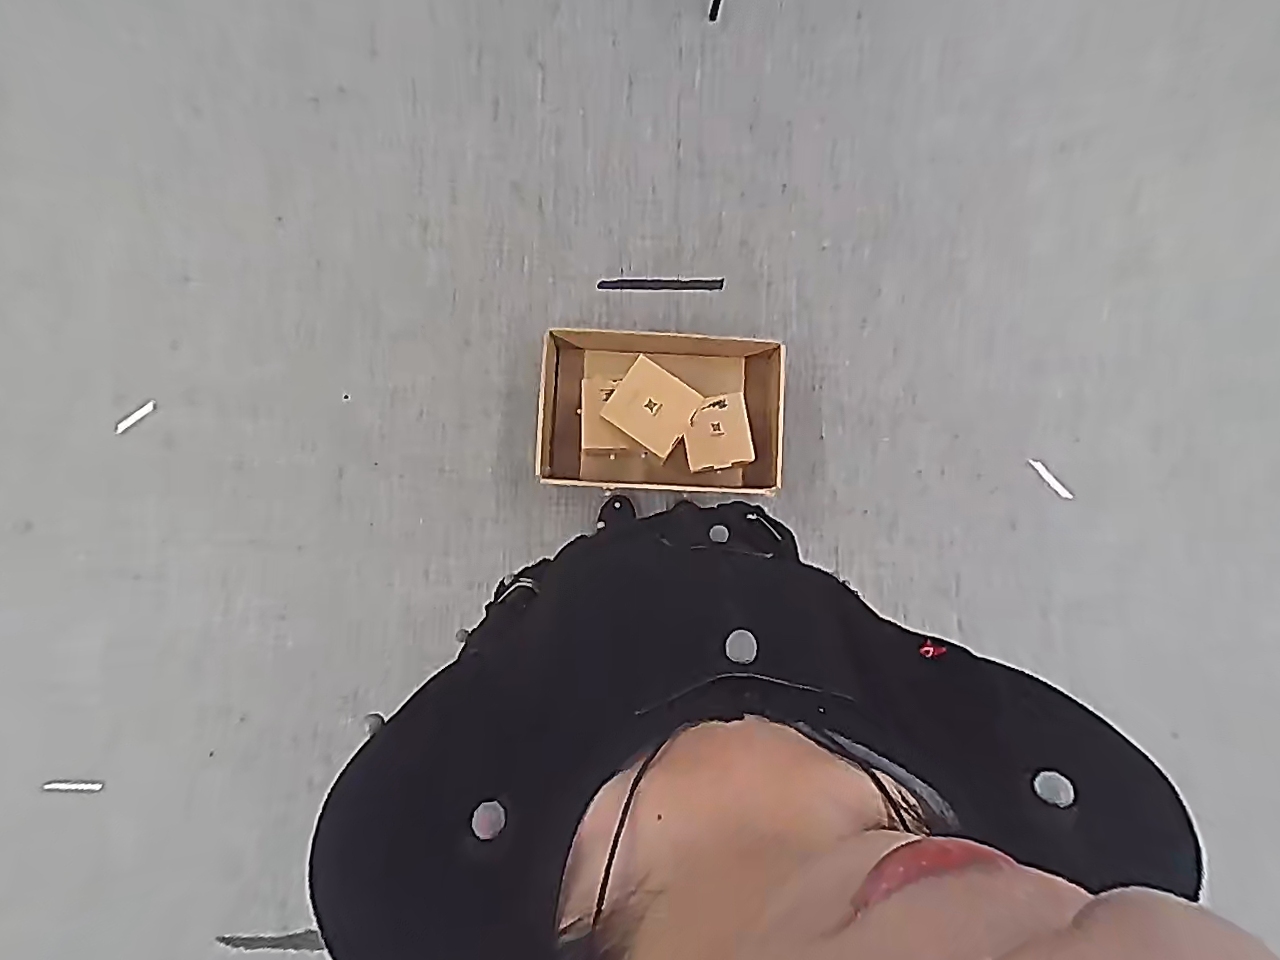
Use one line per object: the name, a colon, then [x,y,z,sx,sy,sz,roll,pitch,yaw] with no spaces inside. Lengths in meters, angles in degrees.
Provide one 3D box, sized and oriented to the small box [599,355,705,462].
small box: [0.025,-0.154,1.246,0.179,0.176,0.168,34,84,2]
